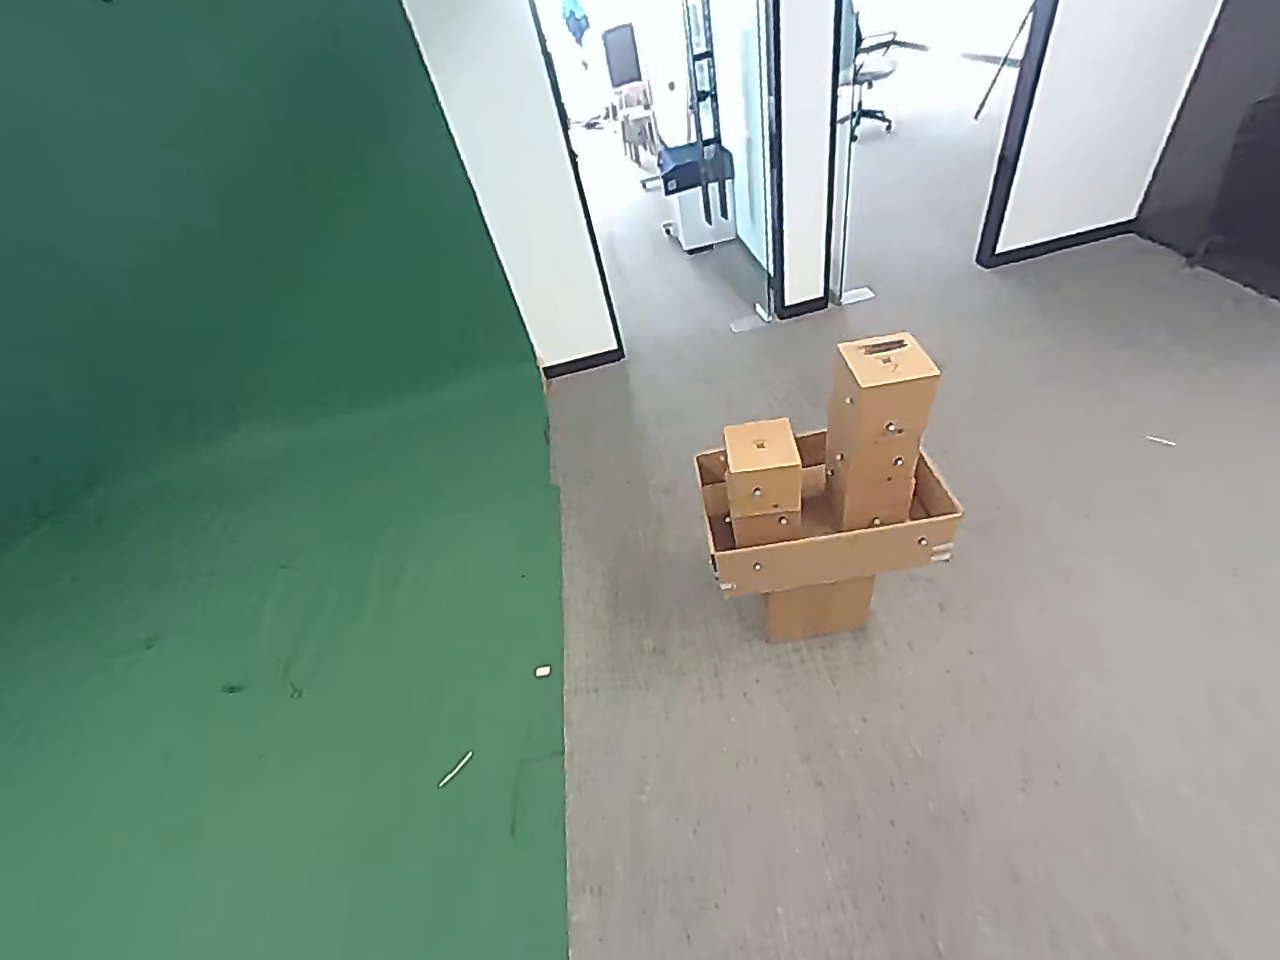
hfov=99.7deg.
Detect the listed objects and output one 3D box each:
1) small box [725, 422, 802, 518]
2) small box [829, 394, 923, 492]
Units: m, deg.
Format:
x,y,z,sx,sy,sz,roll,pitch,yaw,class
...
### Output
x,y,z,sx,sy,sz,roll,pitch,yaw,class
0.312,-0.019,1.367,0.168,0.176,0.179,-8,43,8,small box
0.583,-0.086,1.357,0.168,0.176,0.179,-9,43,5,small box
